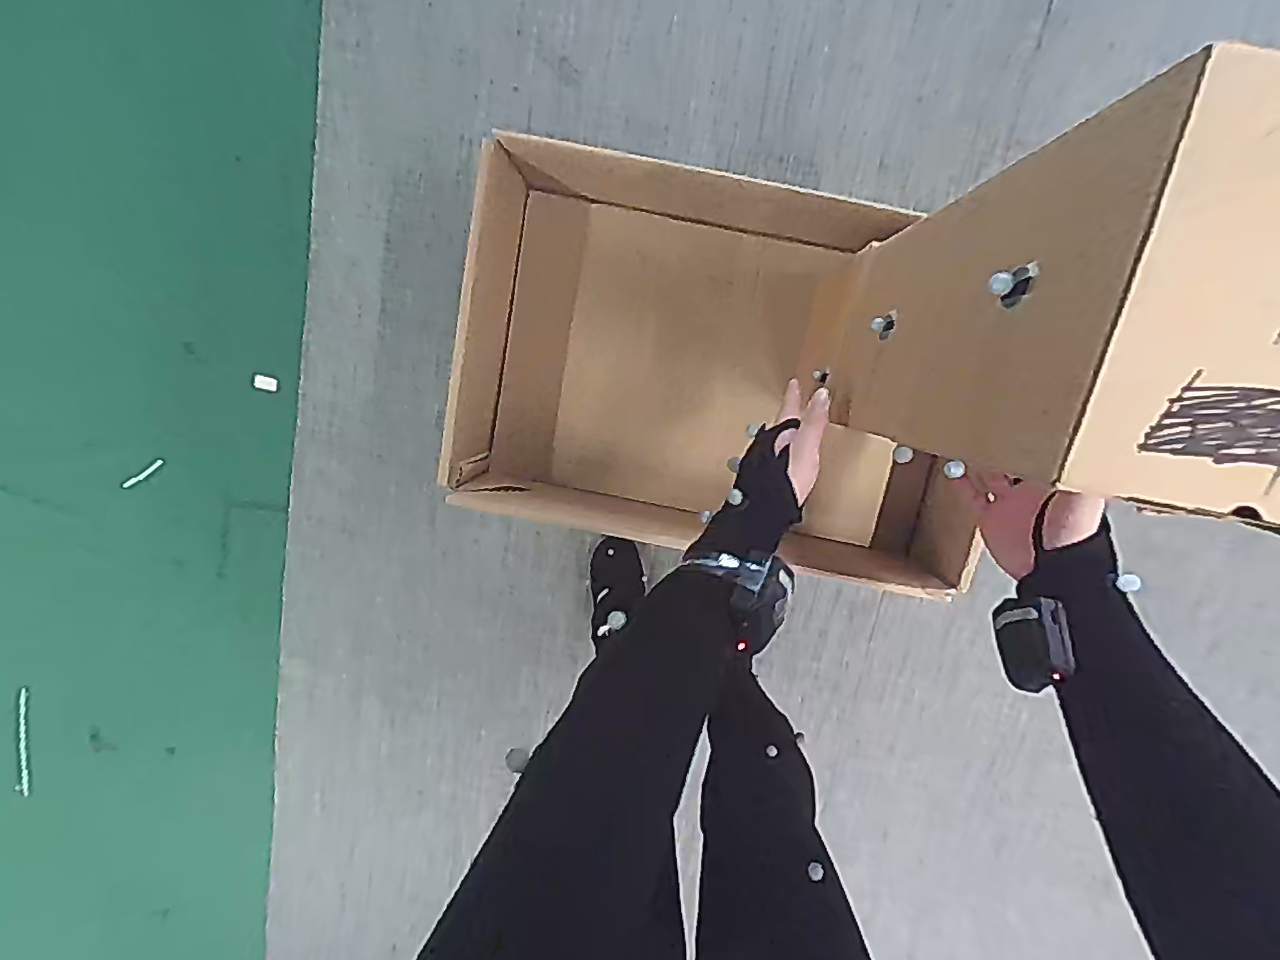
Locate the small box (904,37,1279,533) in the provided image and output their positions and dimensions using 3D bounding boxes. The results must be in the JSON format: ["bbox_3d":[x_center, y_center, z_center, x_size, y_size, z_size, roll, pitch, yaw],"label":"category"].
[{"bbox_3d":[0.272,-0.081,0.295,0.168,0.176,0.179,11,101,0],"label":"small box"}]

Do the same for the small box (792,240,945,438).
[{"bbox_3d":[0.287,-0.147,0.616,0.168,0.176,0.179,12,101,0],"label":"small box"}]
